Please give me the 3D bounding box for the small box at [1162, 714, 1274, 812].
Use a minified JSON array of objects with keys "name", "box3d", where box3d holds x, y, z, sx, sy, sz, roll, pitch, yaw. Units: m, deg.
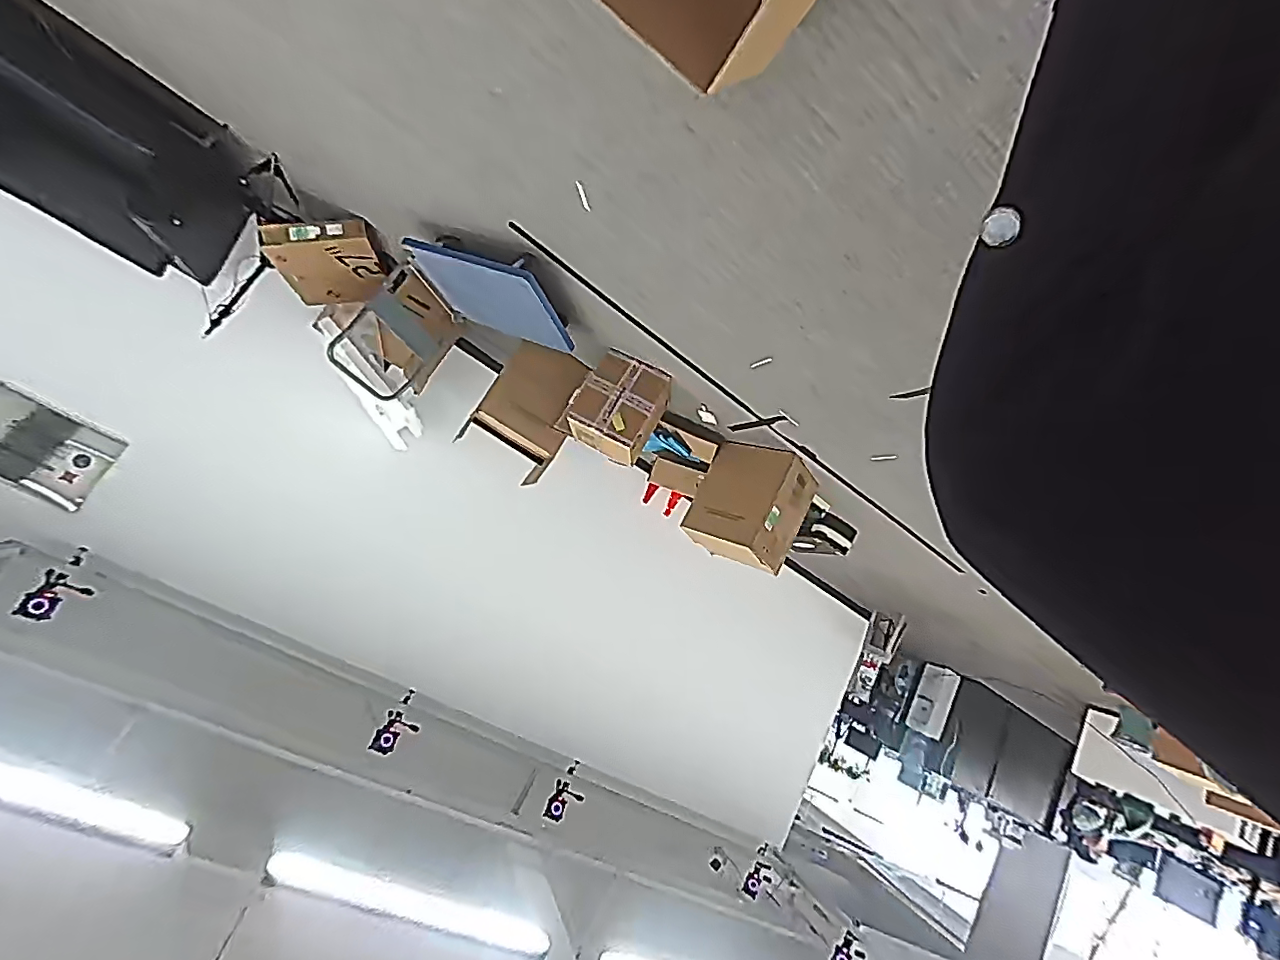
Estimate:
[{"name":"small box","box3d":[1.642,0.795,1.533,0.168,0.176,0.179,33,166,-21]}]
